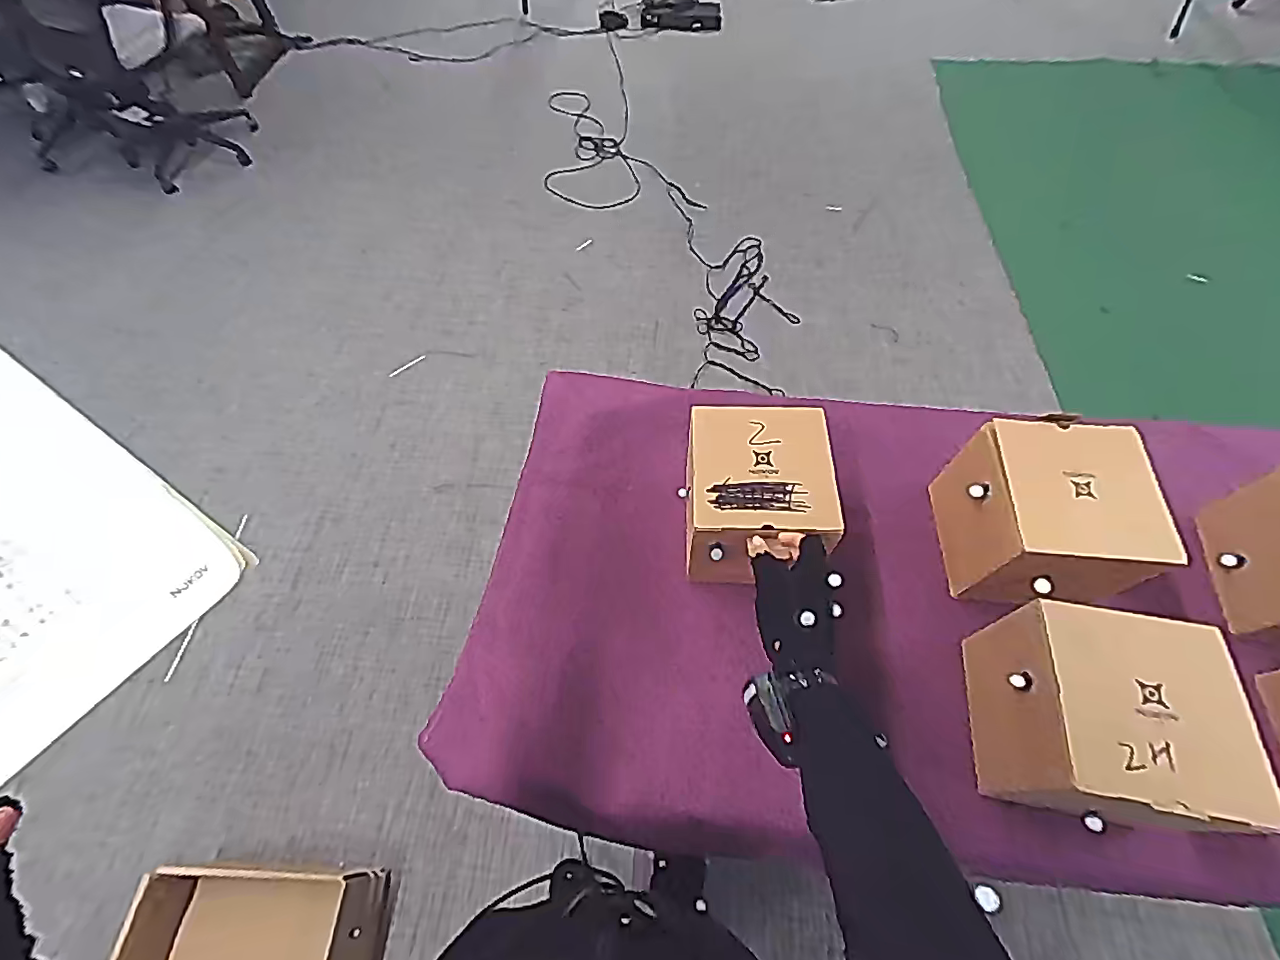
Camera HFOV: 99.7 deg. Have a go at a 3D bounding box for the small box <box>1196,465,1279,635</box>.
[{"bbox_3d":[0.831,0.090,0.637,0.168,0.176,0.179,10,61,8],"label":"small box"}]

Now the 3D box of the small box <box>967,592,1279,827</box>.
[{"bbox_3d":[0.468,0.240,0.561,0.168,0.176,0.179,9,60,8],"label":"small box"}]

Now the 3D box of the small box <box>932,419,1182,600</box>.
[{"bbox_3d":[0.496,0.046,0.679,0.168,0.176,0.179,4,59,4],"label":"small box"}]
